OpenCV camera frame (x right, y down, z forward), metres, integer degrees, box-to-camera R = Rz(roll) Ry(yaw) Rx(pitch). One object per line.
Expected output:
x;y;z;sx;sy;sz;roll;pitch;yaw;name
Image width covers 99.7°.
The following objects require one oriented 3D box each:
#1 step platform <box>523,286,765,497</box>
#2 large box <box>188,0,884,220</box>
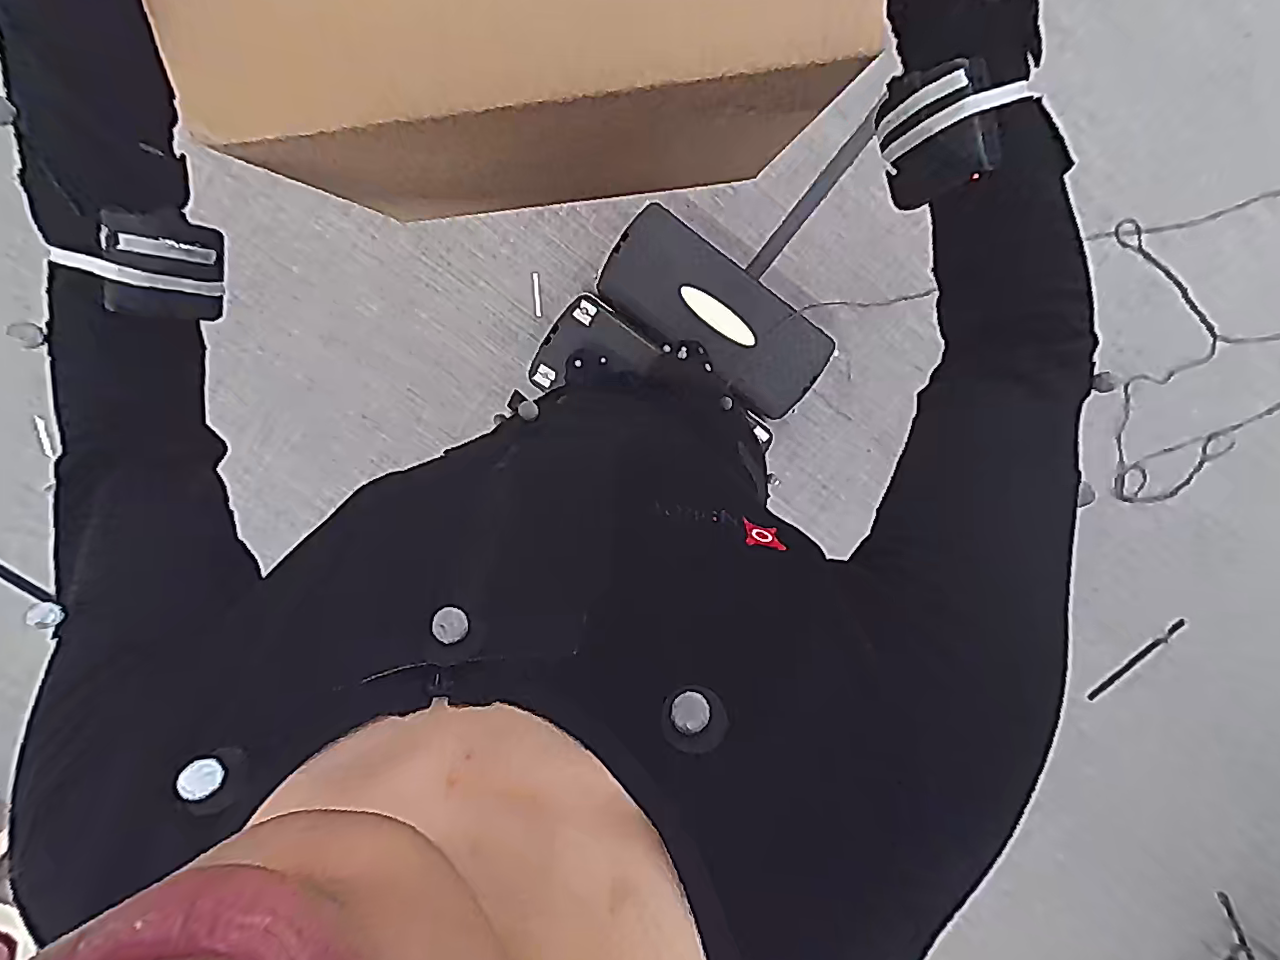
0.016;-0.244;1.533;0.684;0.204;0.286;34;103;-7;step platform
-0.078;-0.420;0.422;0.408;0.320;0.320;-8;108;0;large box
